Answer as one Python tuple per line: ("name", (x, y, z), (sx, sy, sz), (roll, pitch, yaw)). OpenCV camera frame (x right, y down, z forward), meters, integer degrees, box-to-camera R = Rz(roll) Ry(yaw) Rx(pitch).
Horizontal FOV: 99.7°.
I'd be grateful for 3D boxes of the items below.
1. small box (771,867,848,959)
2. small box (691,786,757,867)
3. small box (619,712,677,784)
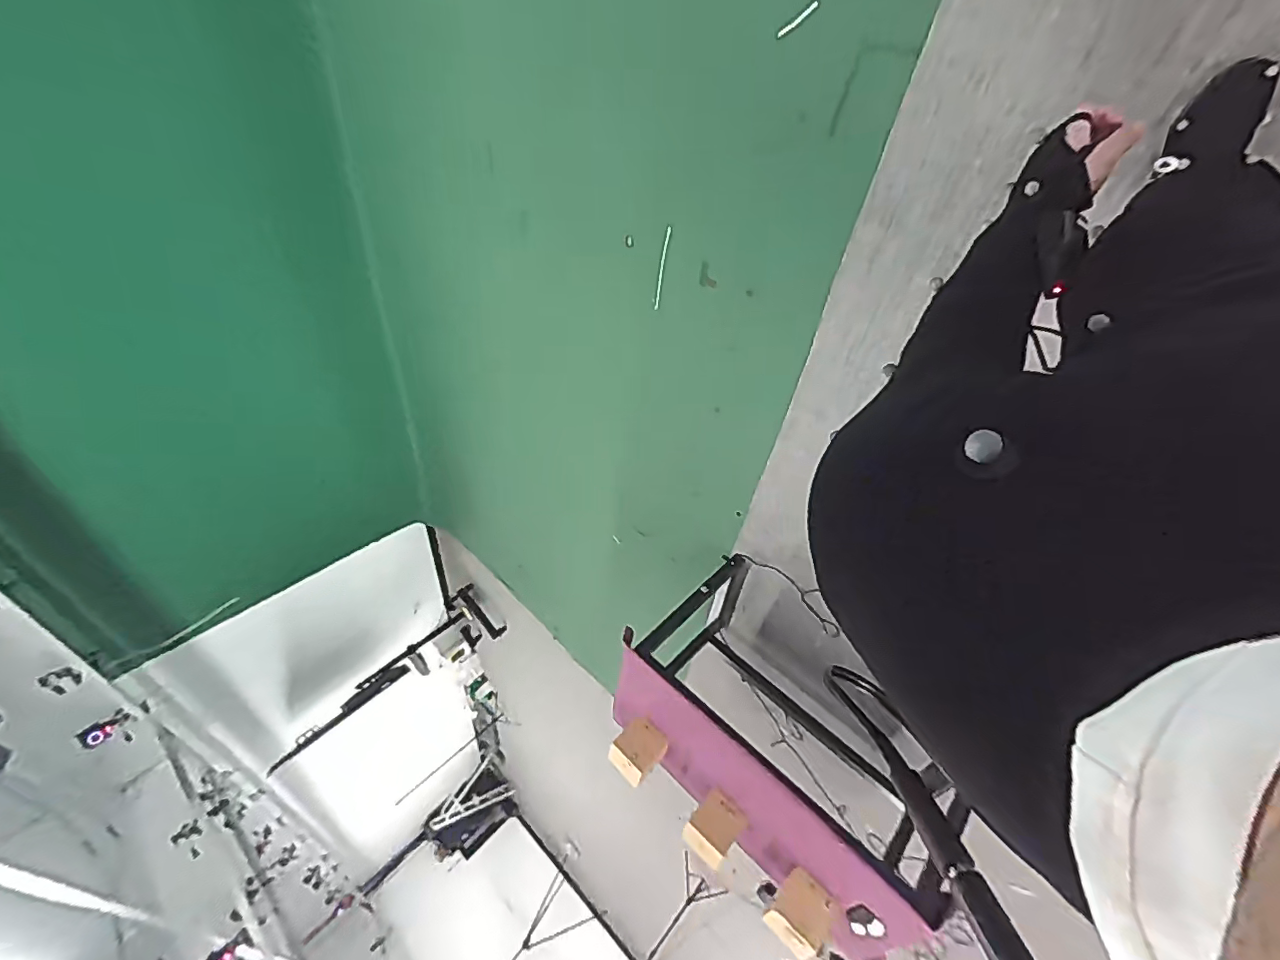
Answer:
("small box", (0.577, 1.463, 1.834), (0.168, 0.176, 0.179), (36, 140, 28))
("small box", (0.314, 1.292, 2.022), (0.168, 0.176, 0.179), (35, 139, 27))
("small box", (0.034, 1.089, 2.199), (0.168, 0.176, 0.179), (36, 140, 26))
